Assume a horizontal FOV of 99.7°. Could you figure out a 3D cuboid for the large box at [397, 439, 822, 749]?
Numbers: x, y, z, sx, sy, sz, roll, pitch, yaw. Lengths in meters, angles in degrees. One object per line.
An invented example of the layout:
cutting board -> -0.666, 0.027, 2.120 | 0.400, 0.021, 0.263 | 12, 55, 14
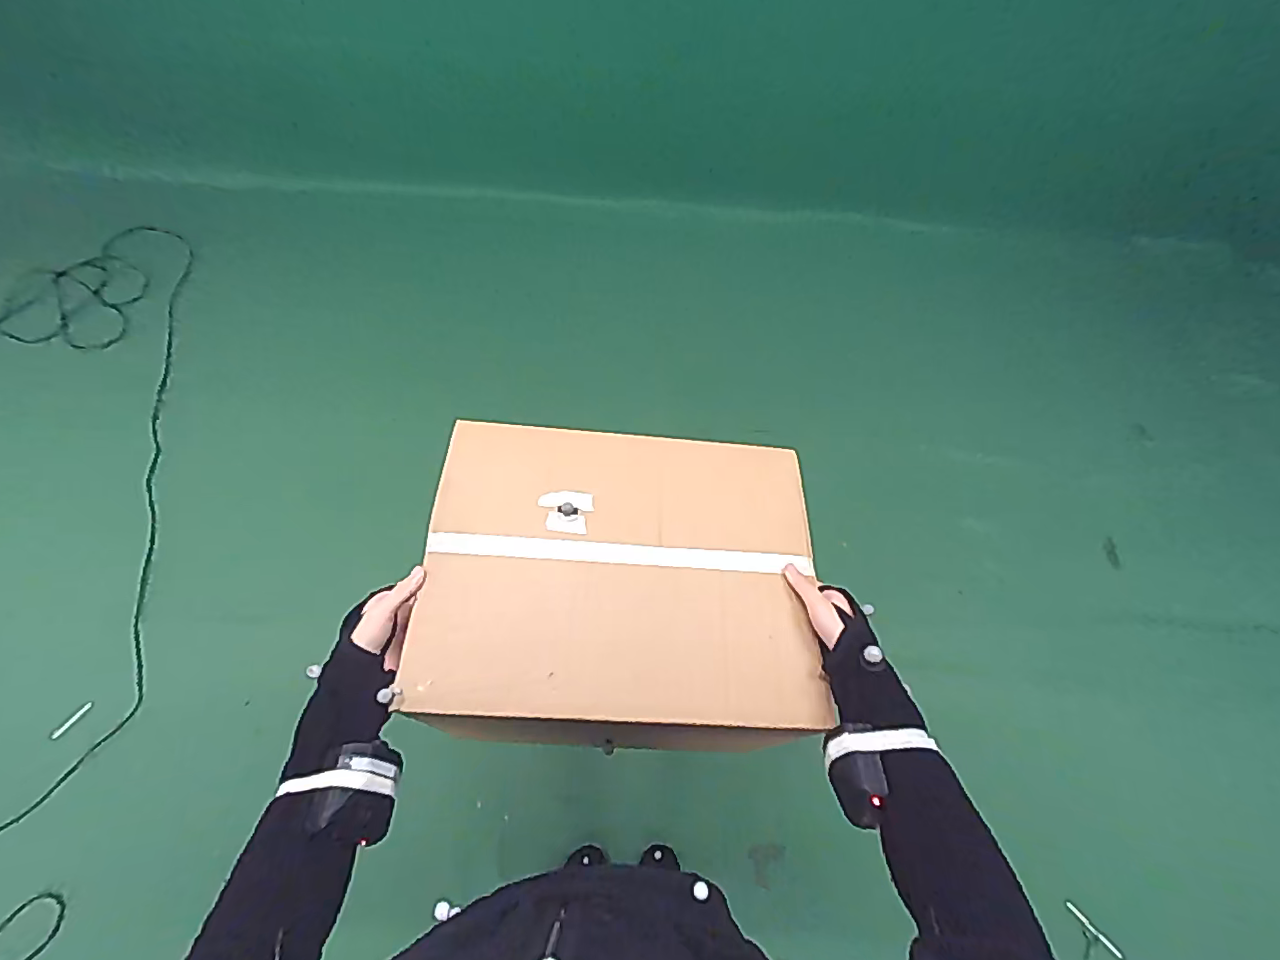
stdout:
large box -> -0.033, 0.168, 0.702 | 0.408, 0.320, 0.320 | 4, 58, -4
